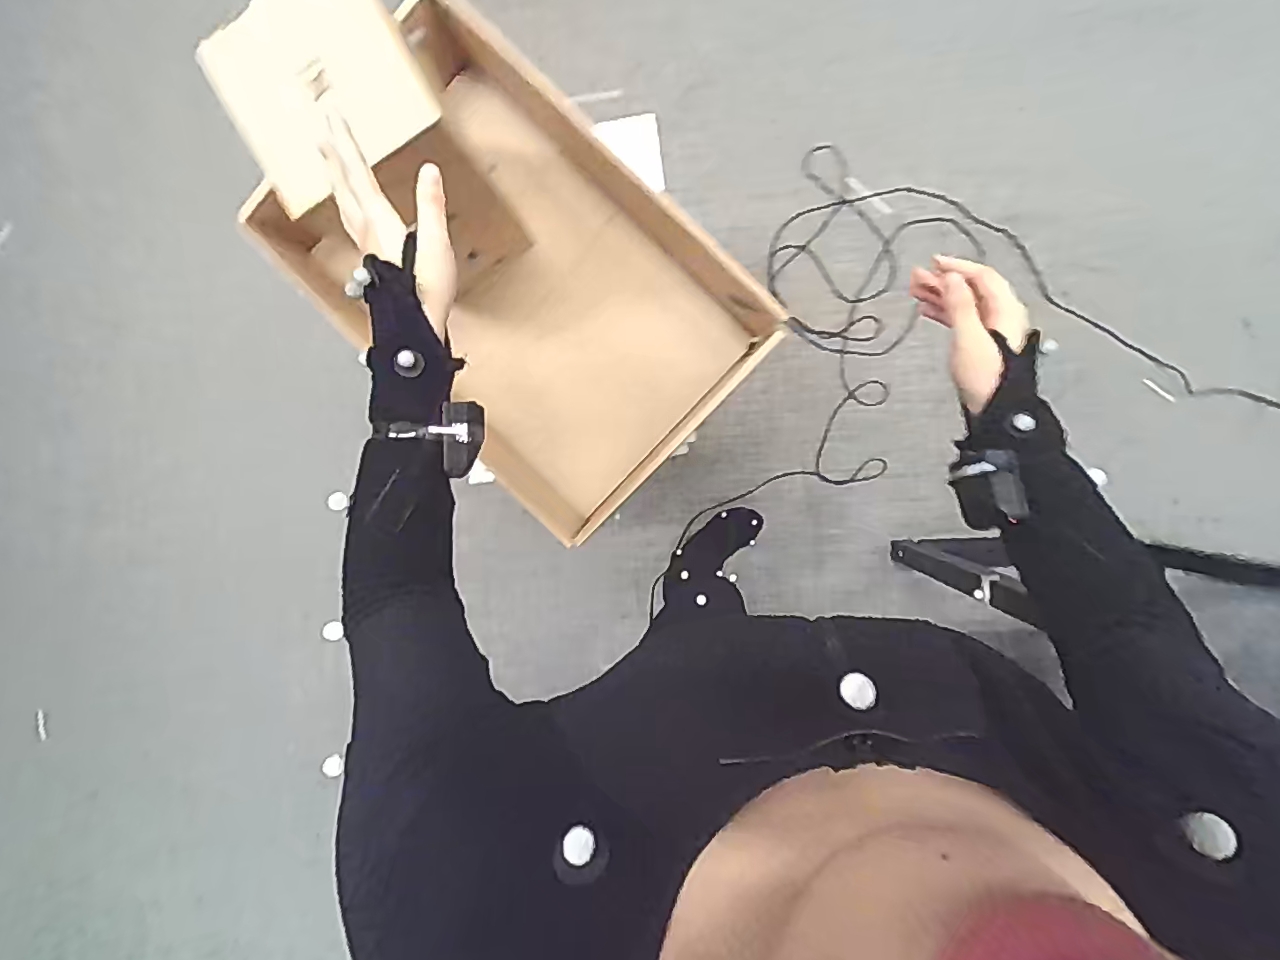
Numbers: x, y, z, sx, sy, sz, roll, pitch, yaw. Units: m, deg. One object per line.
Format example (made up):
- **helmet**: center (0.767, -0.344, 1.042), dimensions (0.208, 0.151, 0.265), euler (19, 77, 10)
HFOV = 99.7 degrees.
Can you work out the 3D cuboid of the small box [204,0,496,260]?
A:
- **small box**: center (-0.283, -0.367, 0.569), dimensions (0.168, 0.176, 0.179), euler (-30, 93, 7)
